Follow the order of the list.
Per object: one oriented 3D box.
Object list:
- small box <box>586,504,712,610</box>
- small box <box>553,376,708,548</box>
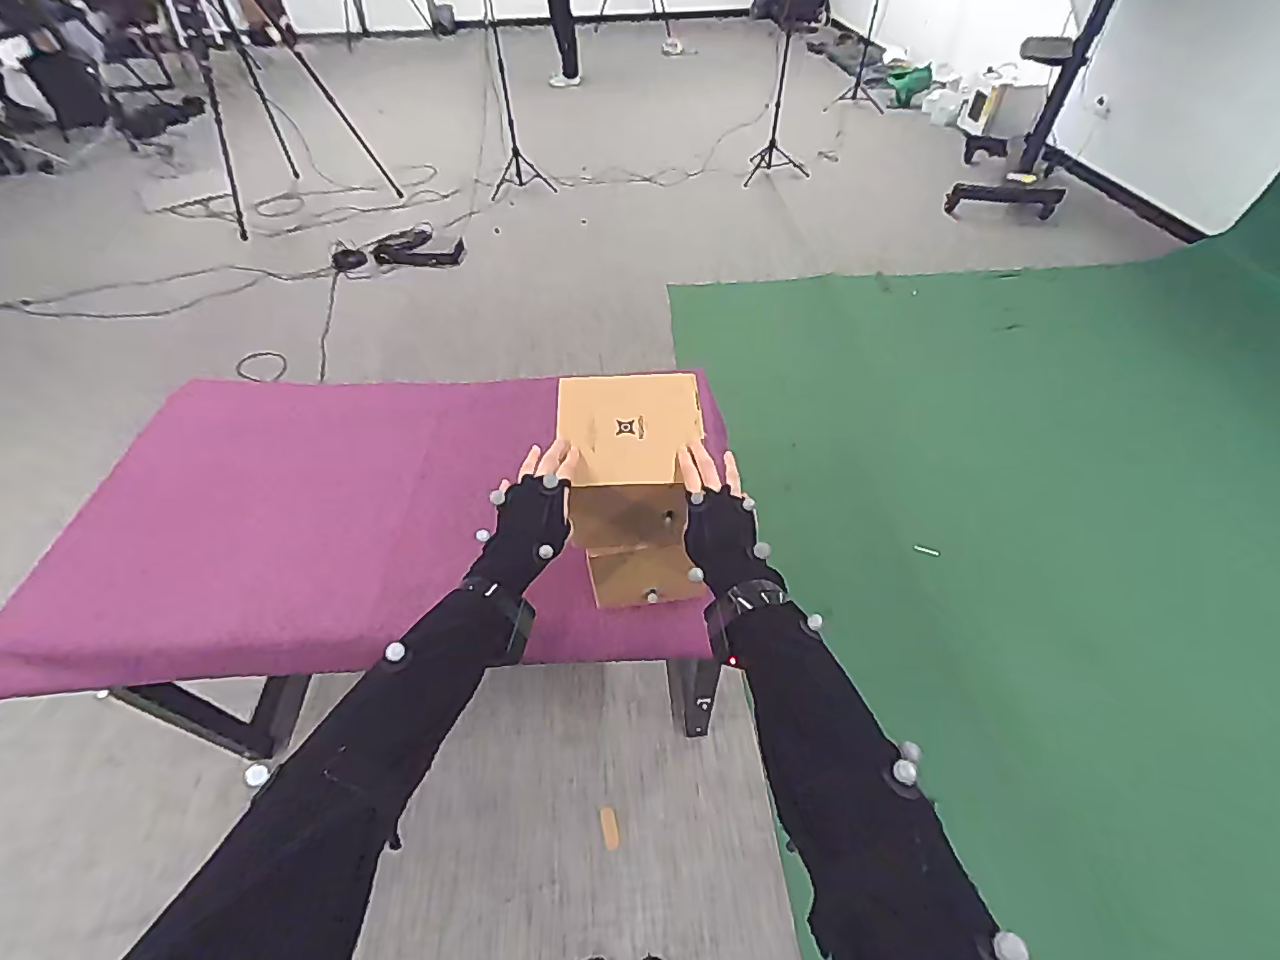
[{"bbox_3d":[0.006,0.088,0.848,0.179,0.176,0.168,-6,50,-3],"label":"small box"},{"bbox_3d":[-0.010,-0.019,0.714,0.179,0.176,0.168,-2,58,1],"label":"small box"}]
